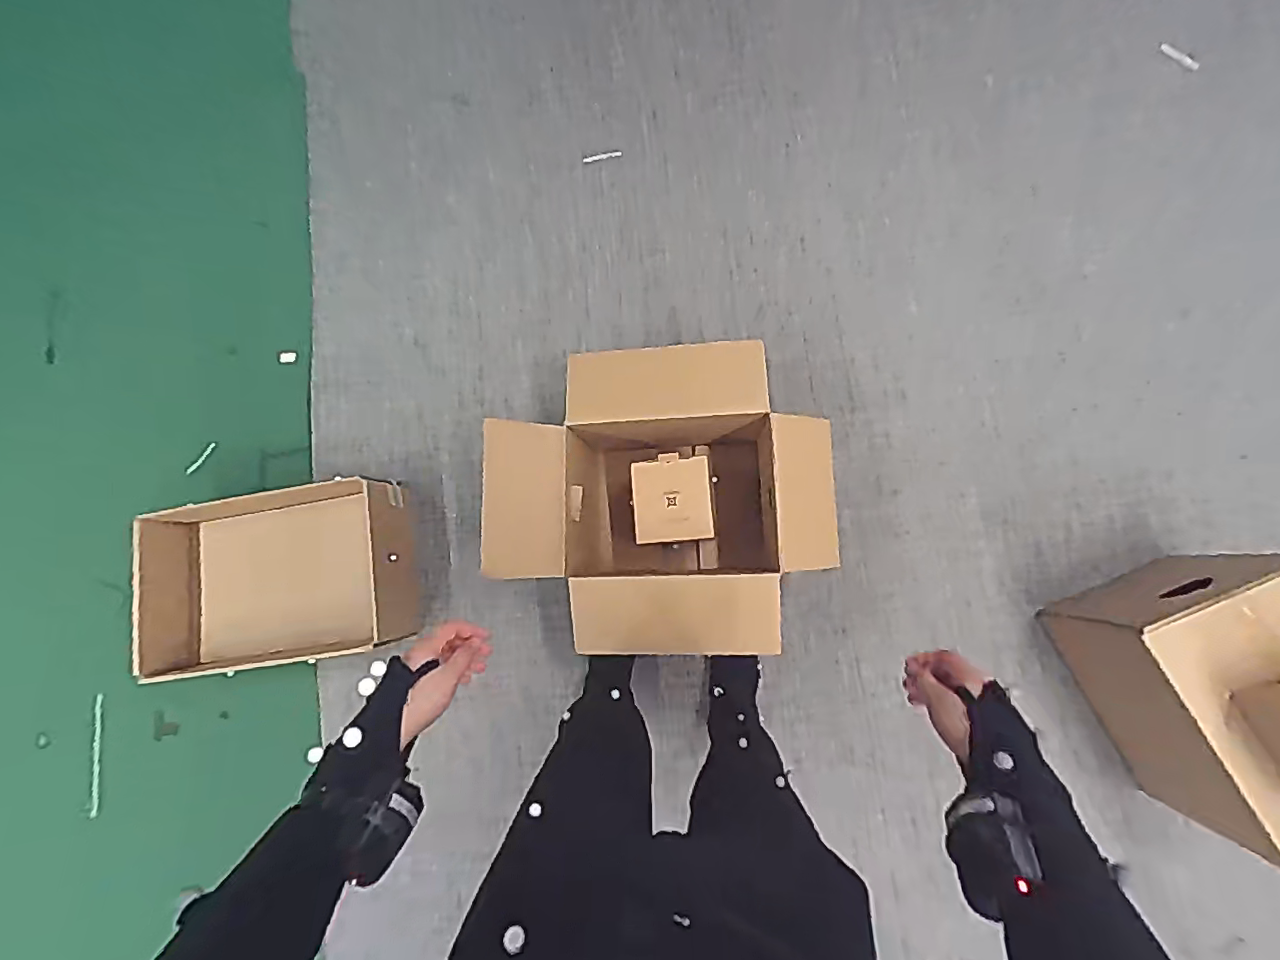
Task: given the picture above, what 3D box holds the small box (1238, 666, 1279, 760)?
[{"bbox_3d":[1.029,0.351,0.757,0.168,0.176,0.179,-26,79,6],"label":"small box"}]
